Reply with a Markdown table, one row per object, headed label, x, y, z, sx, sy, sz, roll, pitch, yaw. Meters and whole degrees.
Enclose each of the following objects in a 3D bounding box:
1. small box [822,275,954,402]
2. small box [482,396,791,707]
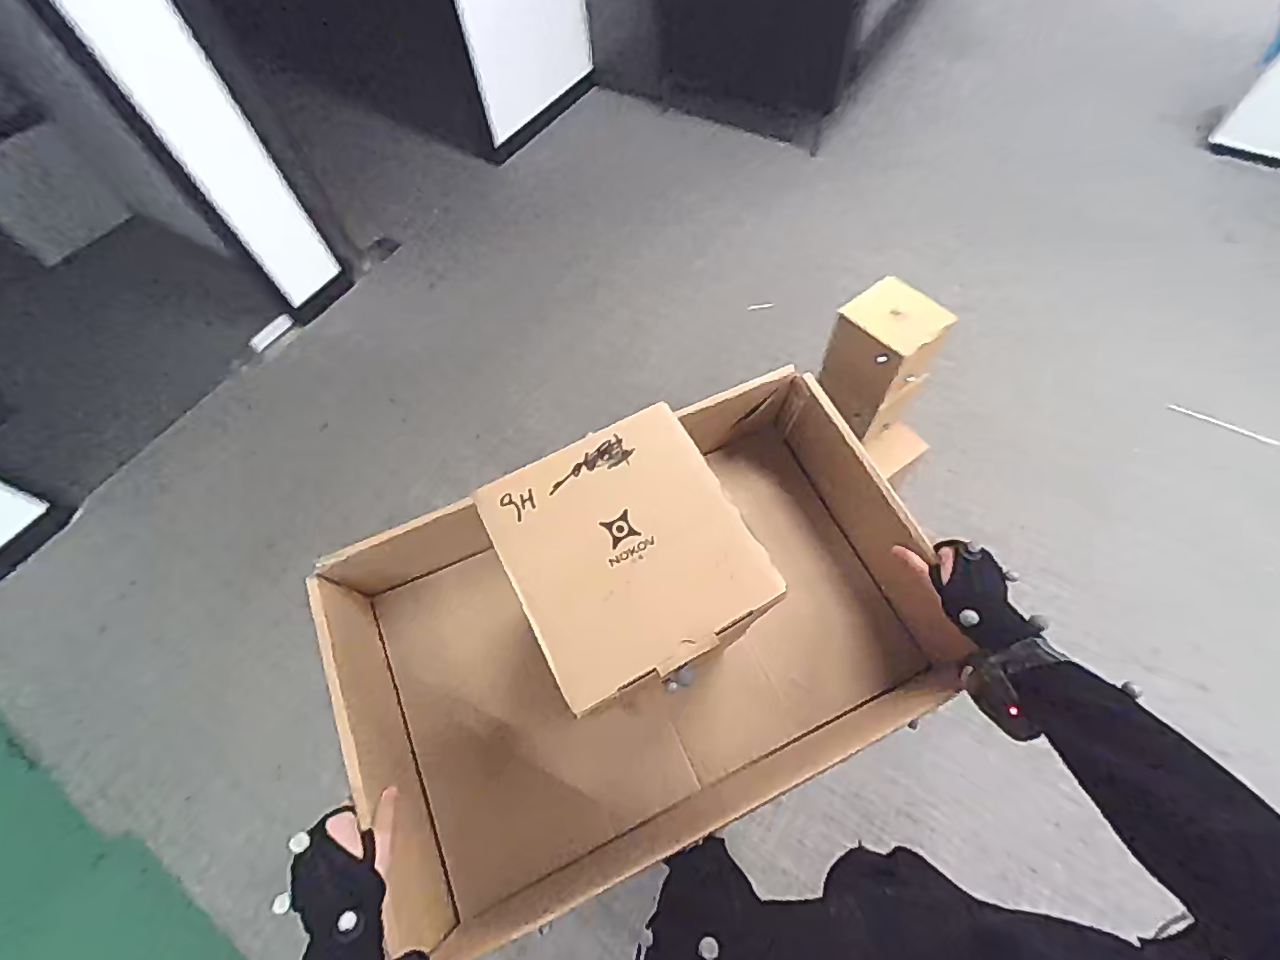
| label | x | y | z | sx | sy | sz | roll | pitch | yaw |
| --- | --- | --- | --- | --- | --- | --- | --- | --- | --- |
| small box | 0.530 | -0.306 | 1.187 | 0.168 | 0.176 | 0.179 | -36 | 64 | -16 |
| small box | -0.006 | 0.067 | 0.454 | 0.168 | 0.176 | 0.179 | -26 | 70 | -11 |
